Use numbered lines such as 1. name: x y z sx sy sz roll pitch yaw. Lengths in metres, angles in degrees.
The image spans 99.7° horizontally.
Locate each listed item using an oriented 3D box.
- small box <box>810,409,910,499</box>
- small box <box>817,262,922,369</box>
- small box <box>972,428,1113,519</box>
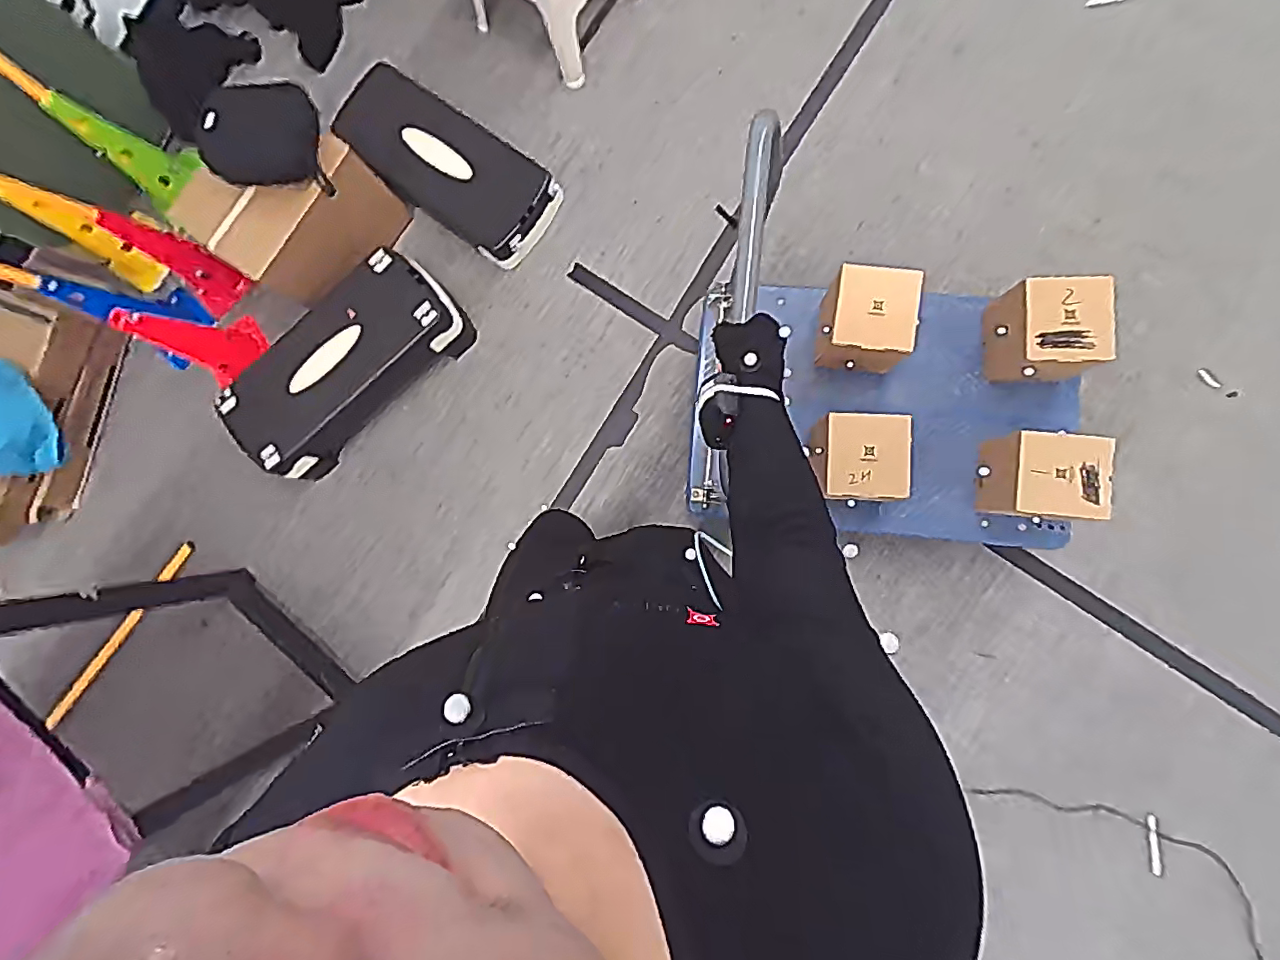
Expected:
1. small box: 0.477 -0.052 1.193 0.168 0.176 0.179 3 87 6
2. small box: 0.503 -0.360 1.208 0.168 0.176 0.179 7 89 6
3. small box: 0.849 -0.011 1.154 0.179 0.176 0.168 6 87 7
